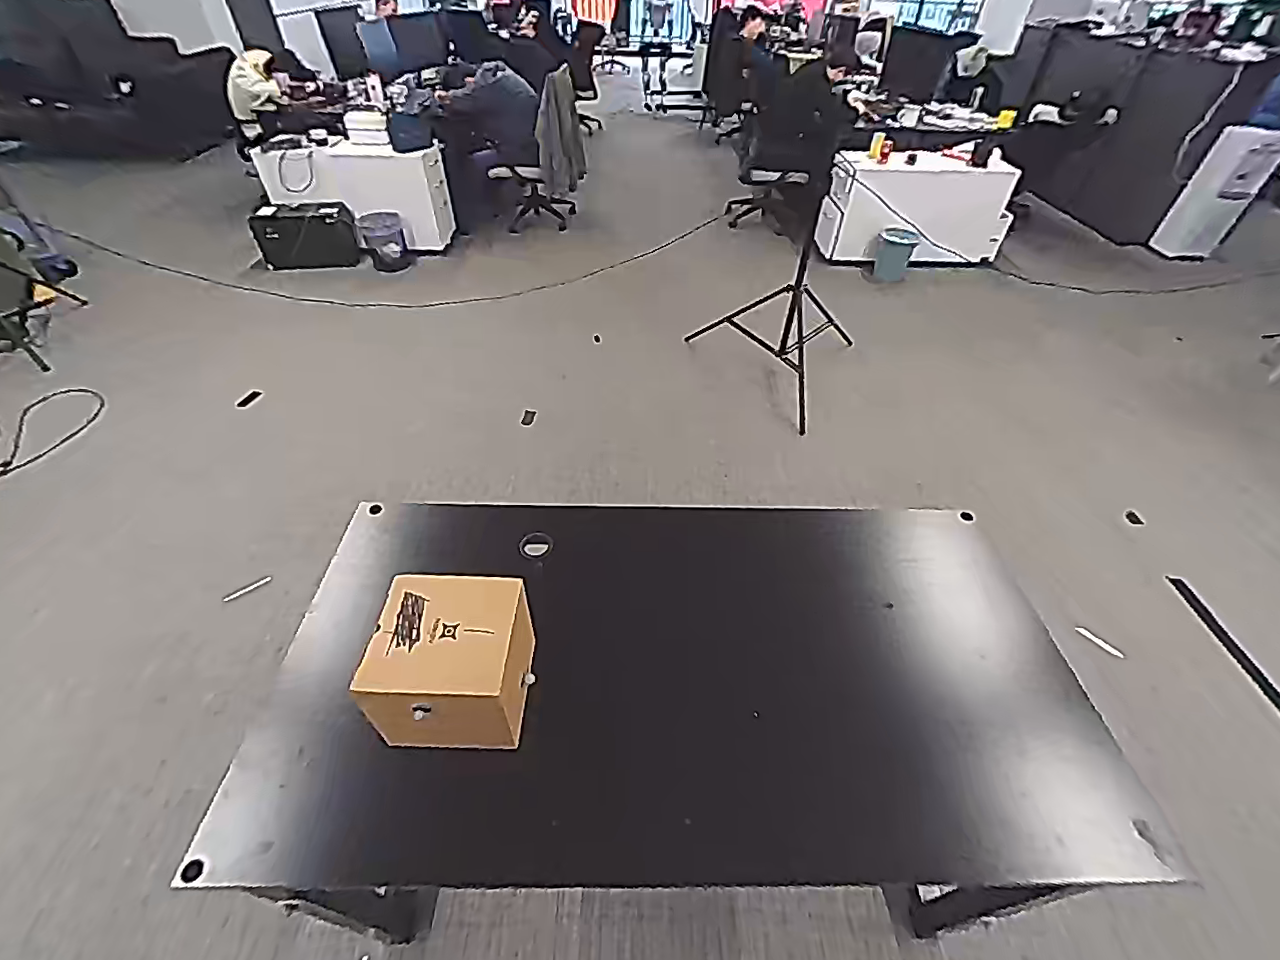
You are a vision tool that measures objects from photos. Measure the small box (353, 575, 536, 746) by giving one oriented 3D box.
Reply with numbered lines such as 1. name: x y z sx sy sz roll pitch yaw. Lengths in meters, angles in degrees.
1. small box: -0.248 0.248 0.739 0.179 0.176 0.168 2 44 -1
